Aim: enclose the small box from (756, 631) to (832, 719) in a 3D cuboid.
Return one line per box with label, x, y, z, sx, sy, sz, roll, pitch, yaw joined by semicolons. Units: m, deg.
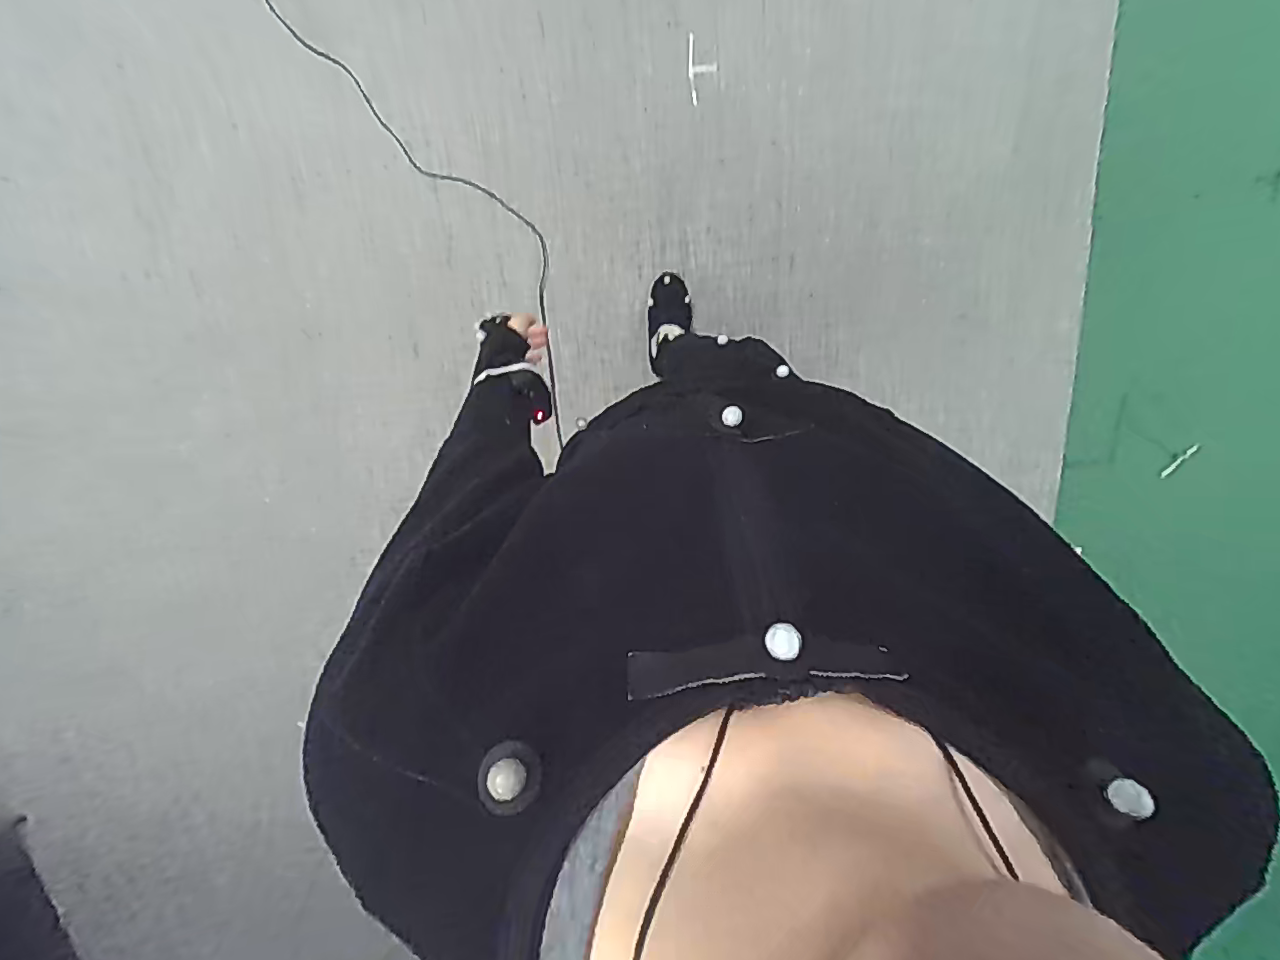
small box;0.444;0.565;1.581;0.179;0.176;0.168;-9;104;0
